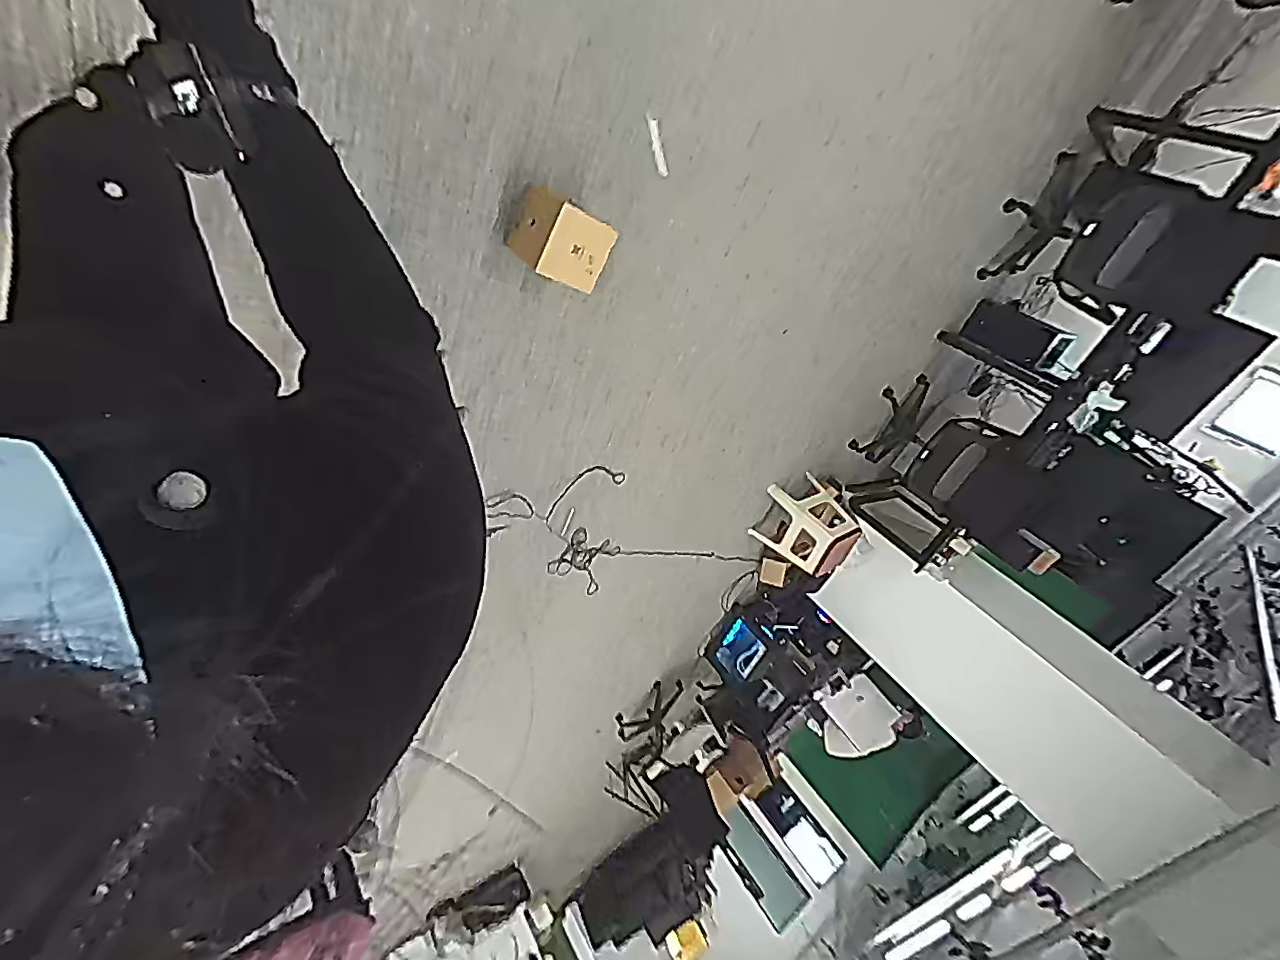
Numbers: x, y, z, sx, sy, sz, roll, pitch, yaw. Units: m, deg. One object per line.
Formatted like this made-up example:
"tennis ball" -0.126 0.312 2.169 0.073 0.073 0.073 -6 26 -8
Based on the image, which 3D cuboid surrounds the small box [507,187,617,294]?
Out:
"small box" -0.196 -0.587 1.323 0.179 0.176 0.168 5 123 -49
